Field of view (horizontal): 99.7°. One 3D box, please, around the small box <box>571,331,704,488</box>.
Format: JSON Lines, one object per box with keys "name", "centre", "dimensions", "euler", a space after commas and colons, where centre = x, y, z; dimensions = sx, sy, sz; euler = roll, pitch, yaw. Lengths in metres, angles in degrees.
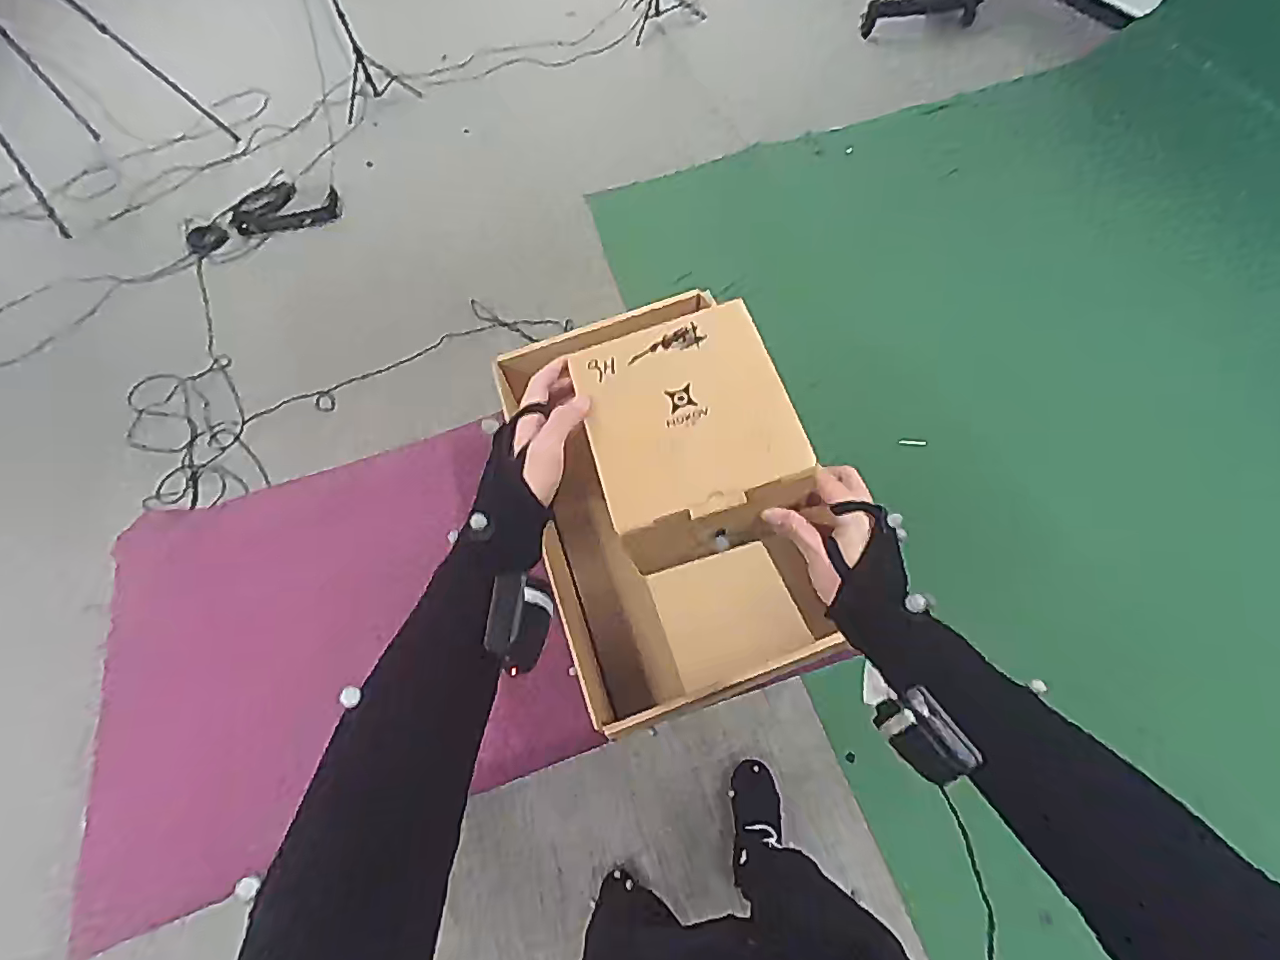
{"name": "small box", "centre": [0.002, -0.104, 0.882], "dimensions": [0.168, 0.176, 0.179], "euler": [-18, 62, -2]}
